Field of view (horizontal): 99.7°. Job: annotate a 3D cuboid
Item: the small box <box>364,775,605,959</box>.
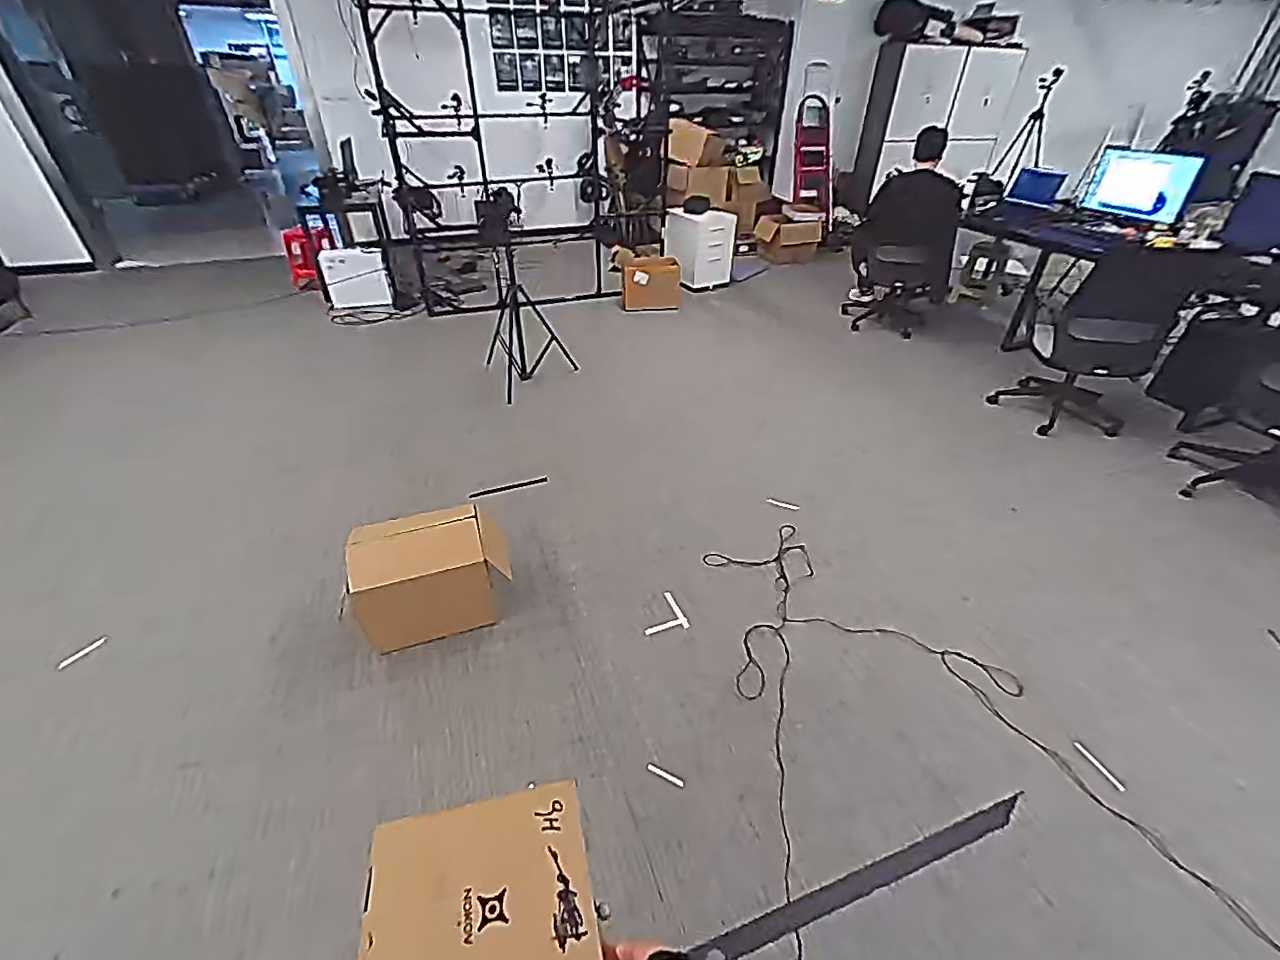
[{"bbox_3d":[-0.127,0.399,0.476,0.179,0.176,0.168,-7,39,-14],"label":"small box"}]
